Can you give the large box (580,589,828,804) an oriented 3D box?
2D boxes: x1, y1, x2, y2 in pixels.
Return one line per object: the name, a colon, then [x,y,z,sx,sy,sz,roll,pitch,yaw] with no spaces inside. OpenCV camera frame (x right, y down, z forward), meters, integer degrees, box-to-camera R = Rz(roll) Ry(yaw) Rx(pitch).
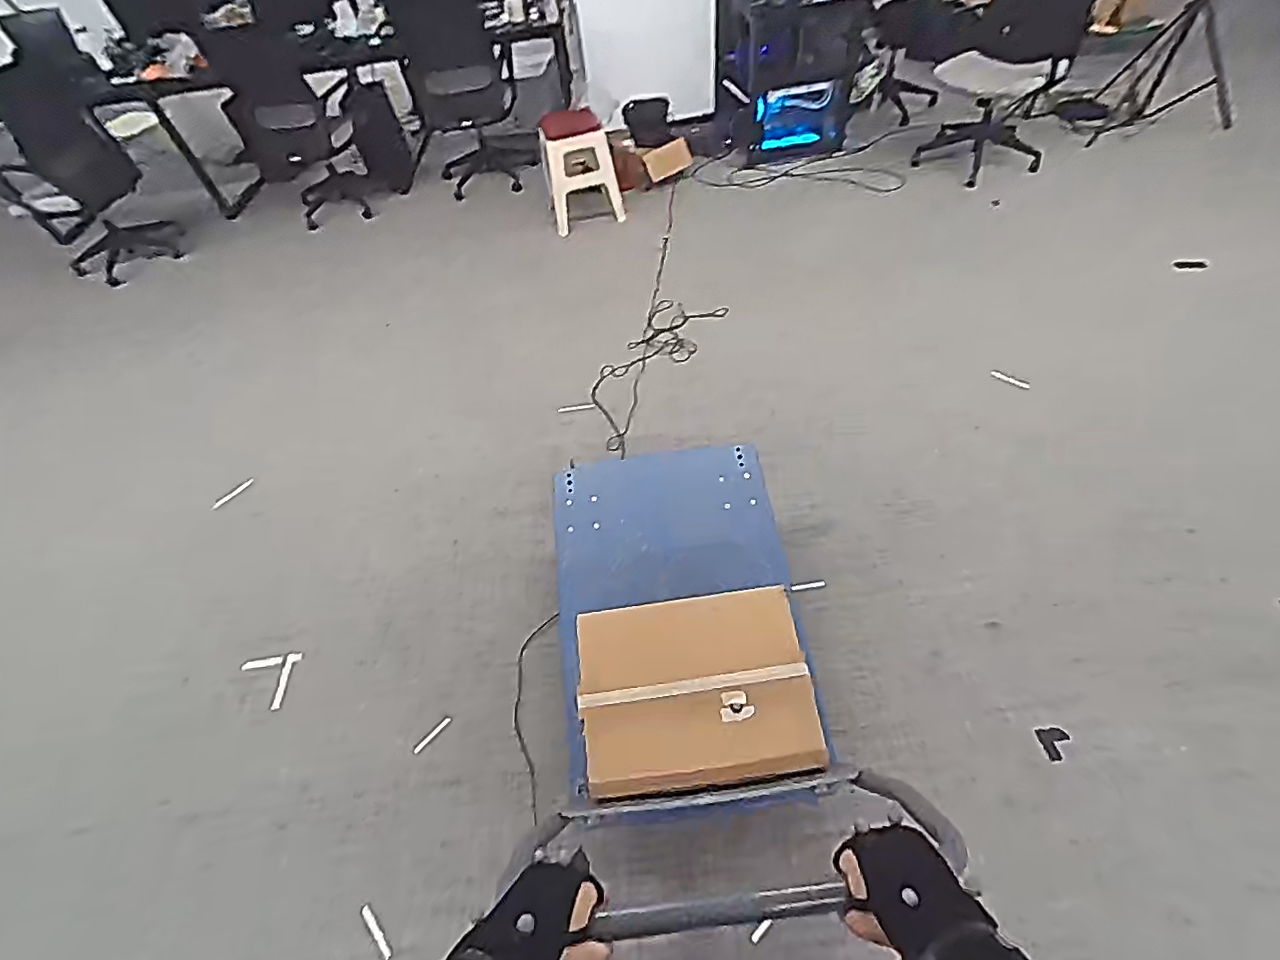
large box: [0.110,0.446,1.108,0.408,0.320,0.320,-9,63,0]
